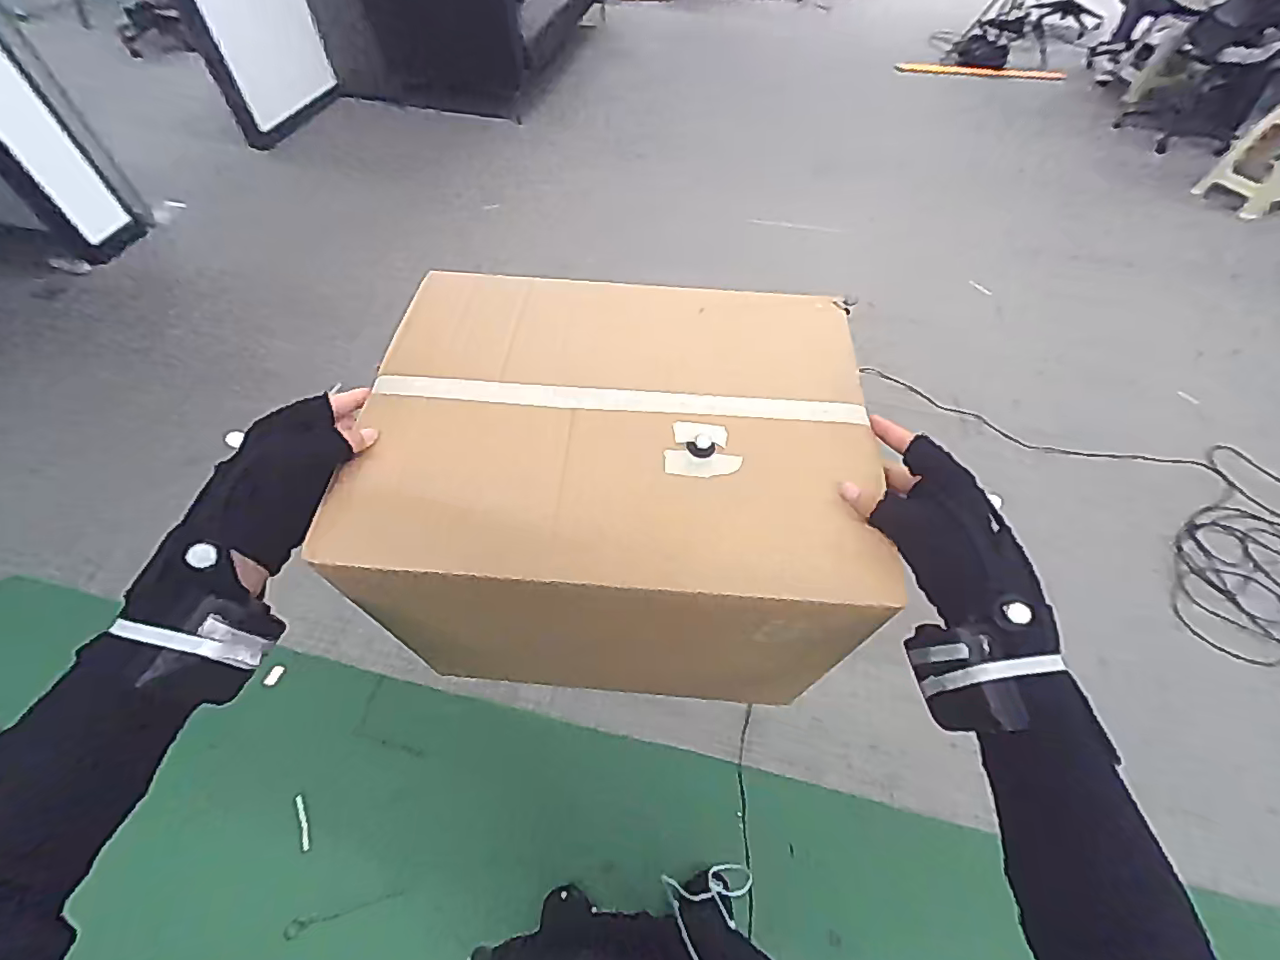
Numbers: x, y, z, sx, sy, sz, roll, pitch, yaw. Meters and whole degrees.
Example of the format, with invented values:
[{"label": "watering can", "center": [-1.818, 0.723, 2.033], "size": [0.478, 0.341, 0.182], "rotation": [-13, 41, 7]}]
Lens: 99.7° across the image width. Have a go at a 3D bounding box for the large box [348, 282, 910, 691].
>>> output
[{"label": "large box", "center": [-0.006, 0.023, 0.580], "size": [0.408, 0.320, 0.320], "rotation": [5, 57, 1]}]
